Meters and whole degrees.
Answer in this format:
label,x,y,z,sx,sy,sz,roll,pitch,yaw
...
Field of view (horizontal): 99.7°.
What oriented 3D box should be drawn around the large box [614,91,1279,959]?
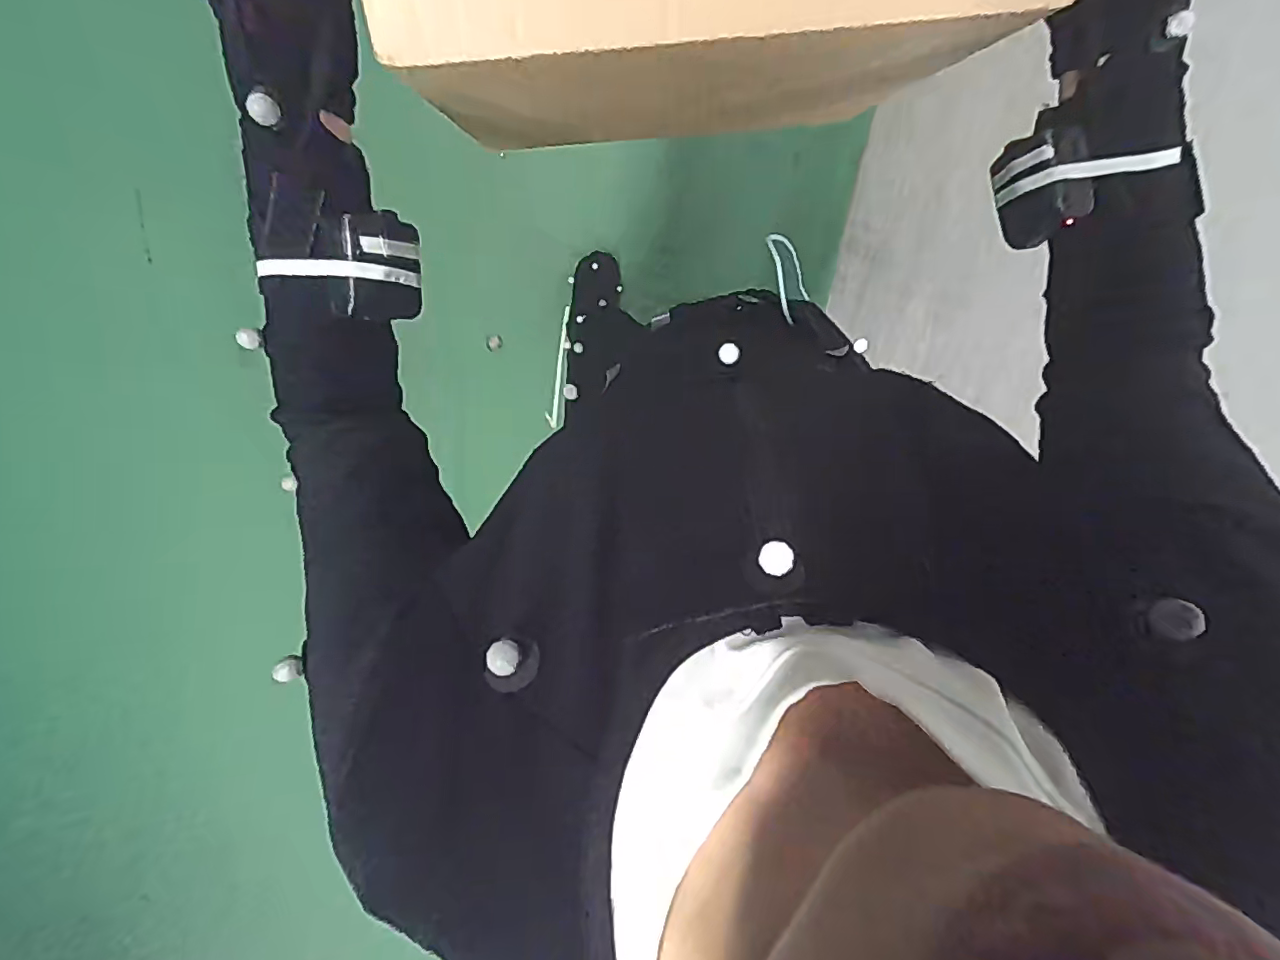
label,x,y,z,sx,sy,sz,roll,pitch,yaw
large box,0.232,0.074,0.312,0.320,0.320,0.408,8,78,30
